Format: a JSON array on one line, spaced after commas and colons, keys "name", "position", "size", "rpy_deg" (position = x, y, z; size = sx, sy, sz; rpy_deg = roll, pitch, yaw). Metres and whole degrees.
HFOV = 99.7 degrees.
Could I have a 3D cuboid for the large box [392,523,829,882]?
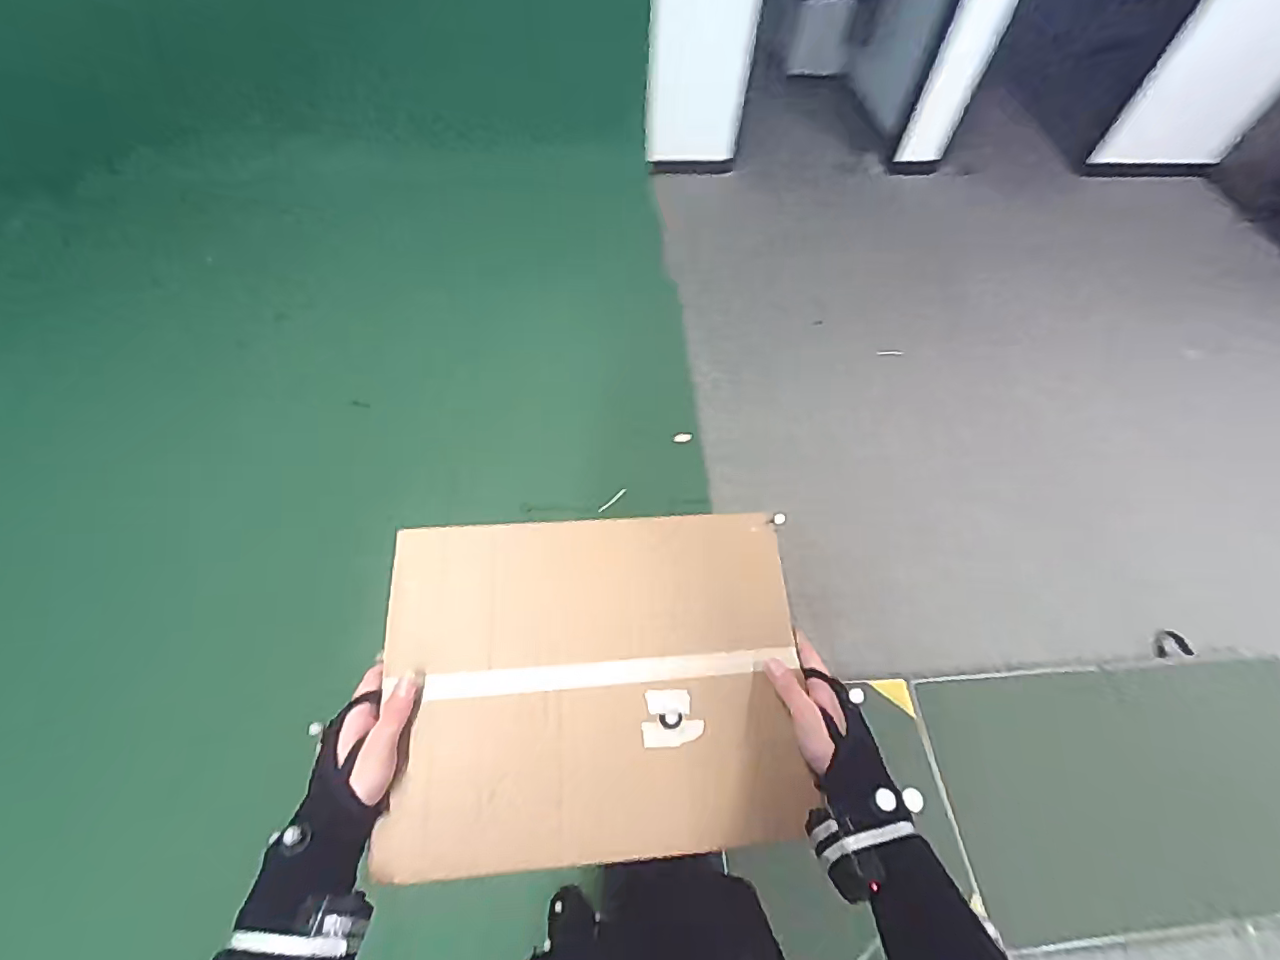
[{"name": "large box", "position": [-0.043, 0.256, 0.677], "size": [0.408, 0.320, 0.320], "rpy_deg": [-2, 68, -6]}]
